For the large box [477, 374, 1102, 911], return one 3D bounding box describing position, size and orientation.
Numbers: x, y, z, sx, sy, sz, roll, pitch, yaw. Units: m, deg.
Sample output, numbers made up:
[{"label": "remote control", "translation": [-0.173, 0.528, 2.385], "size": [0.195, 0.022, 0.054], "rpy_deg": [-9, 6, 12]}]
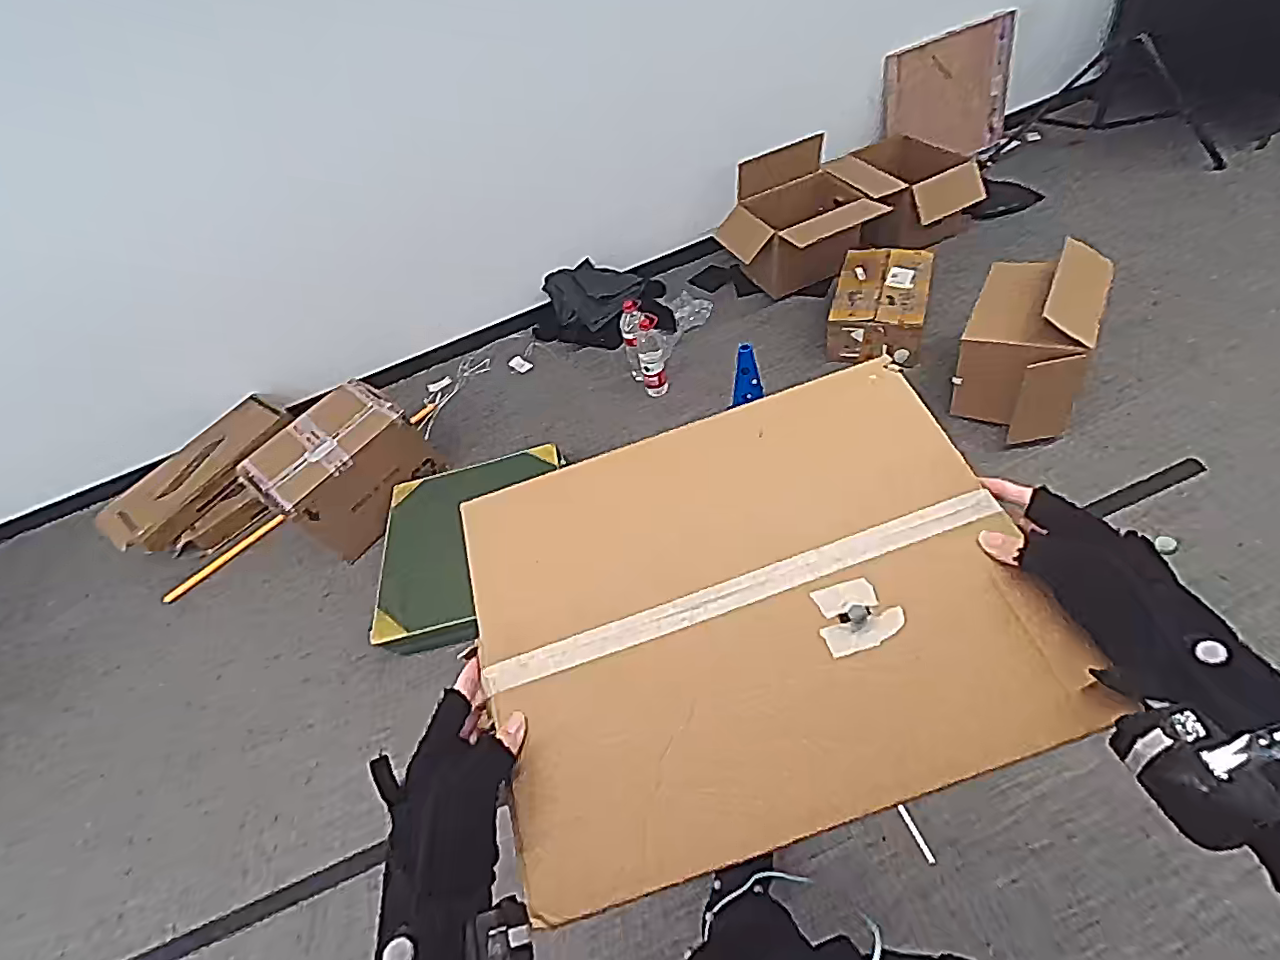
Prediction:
[{"label": "large box", "translation": [0.101, 0.161, 0.557], "size": [0.408, 0.320, 0.320], "rpy_deg": [-19, 61, -1]}]
